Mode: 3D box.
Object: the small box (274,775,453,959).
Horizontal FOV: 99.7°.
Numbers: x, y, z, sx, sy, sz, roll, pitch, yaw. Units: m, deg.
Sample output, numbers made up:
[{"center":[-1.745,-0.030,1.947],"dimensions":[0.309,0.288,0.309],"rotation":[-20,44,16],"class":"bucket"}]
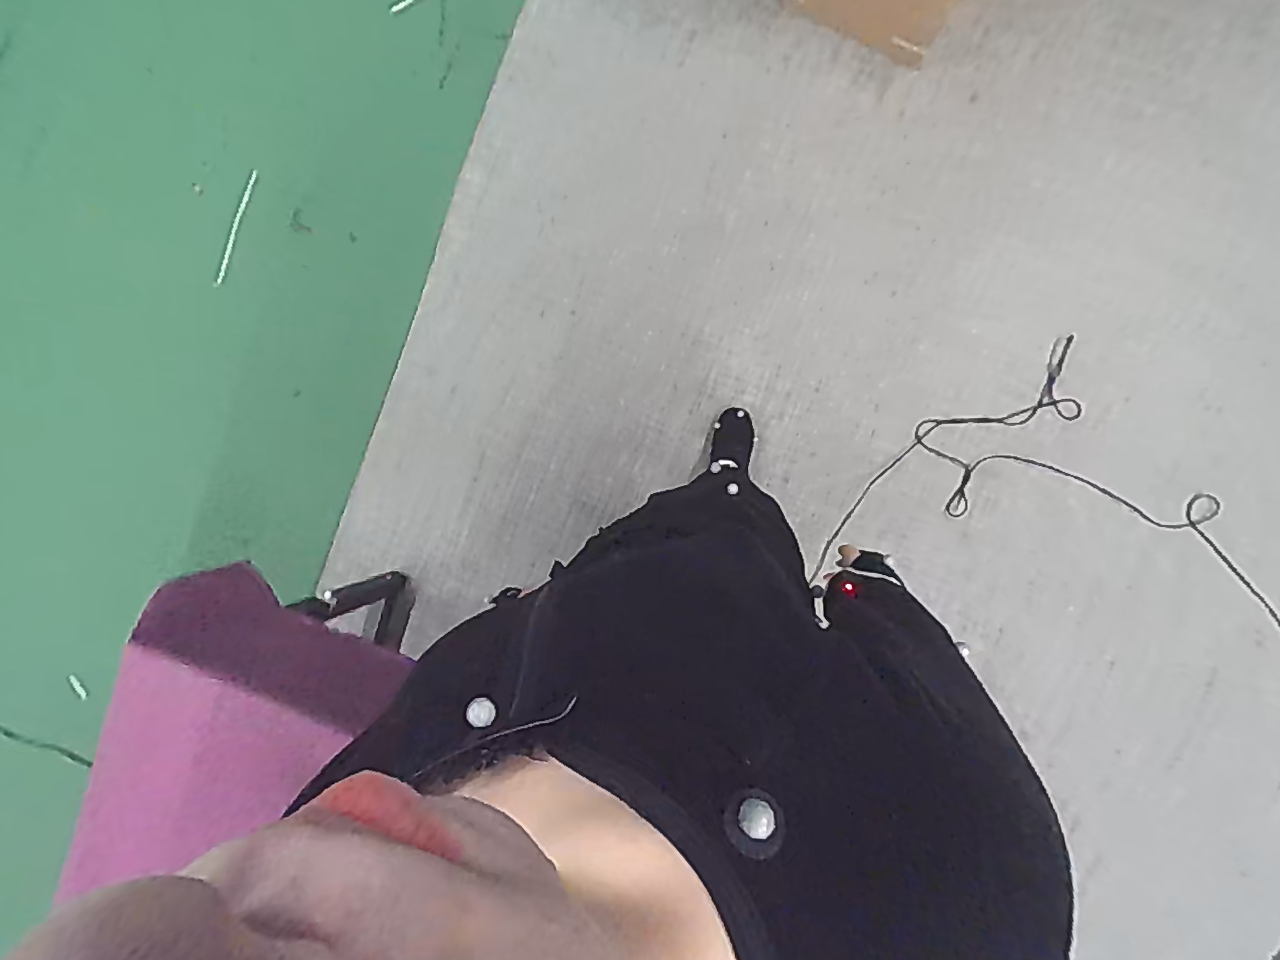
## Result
[{"center":[-0.393,0.556,0.759],"dimensions":[0.179,0.176,0.168],"rotation":[21,94,7],"class":"small box"}]
